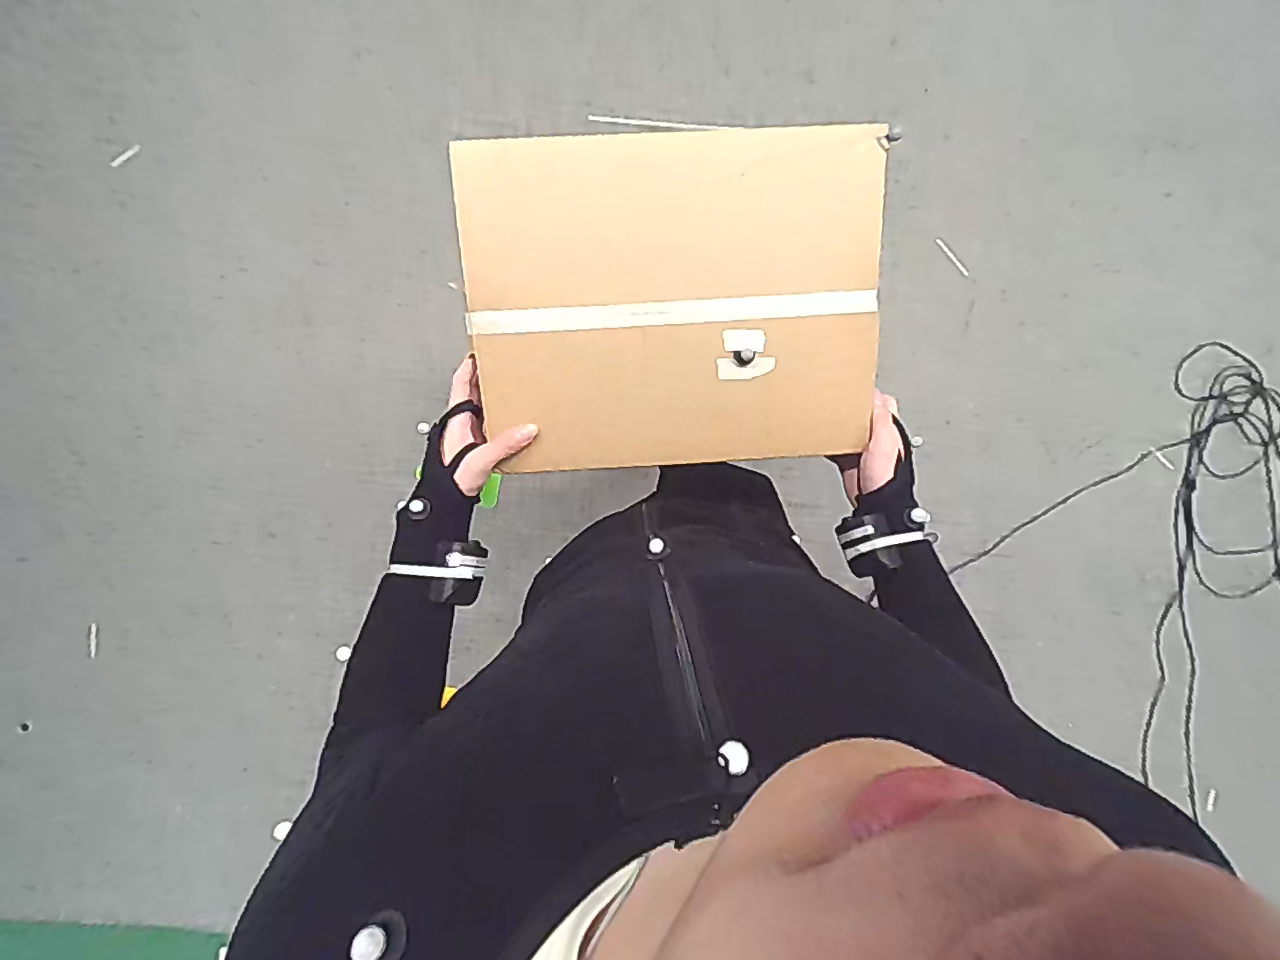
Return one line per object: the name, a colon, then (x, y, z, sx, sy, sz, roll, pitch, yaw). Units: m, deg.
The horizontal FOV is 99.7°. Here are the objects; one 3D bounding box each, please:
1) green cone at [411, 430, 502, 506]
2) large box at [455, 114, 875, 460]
green cone: (-0.510, -0.023, 1.415, 0.200, 0.368, 0.202, 10, 94, -1)
large box: (0.025, -0.222, 0.686, 0.408, 0.320, 0.320, -4, 106, -3)
